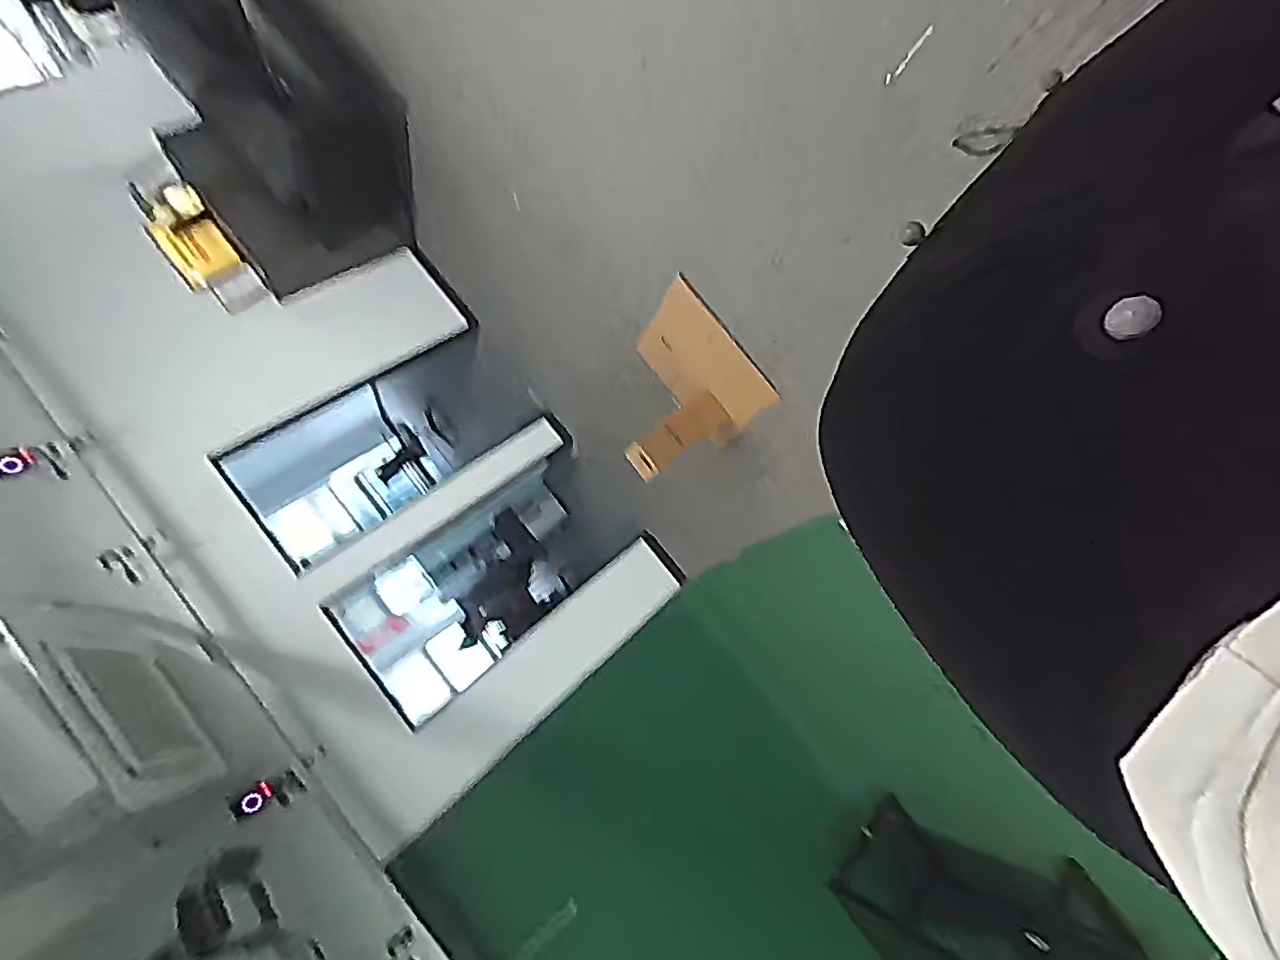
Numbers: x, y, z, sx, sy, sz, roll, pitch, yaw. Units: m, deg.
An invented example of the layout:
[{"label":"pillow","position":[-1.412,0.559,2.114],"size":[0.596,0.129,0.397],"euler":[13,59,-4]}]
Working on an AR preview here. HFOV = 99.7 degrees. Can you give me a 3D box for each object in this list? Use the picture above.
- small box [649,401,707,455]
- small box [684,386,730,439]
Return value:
[{"label":"small box","position":[0.180,-0.251,2.554],"size":[0.179,0.176,0.168],"euler":[51,155,0]},{"label":"small box","position":[0.300,-0.336,2.622],"size":[0.179,0.176,0.168],"euler":[51,156,1]}]
